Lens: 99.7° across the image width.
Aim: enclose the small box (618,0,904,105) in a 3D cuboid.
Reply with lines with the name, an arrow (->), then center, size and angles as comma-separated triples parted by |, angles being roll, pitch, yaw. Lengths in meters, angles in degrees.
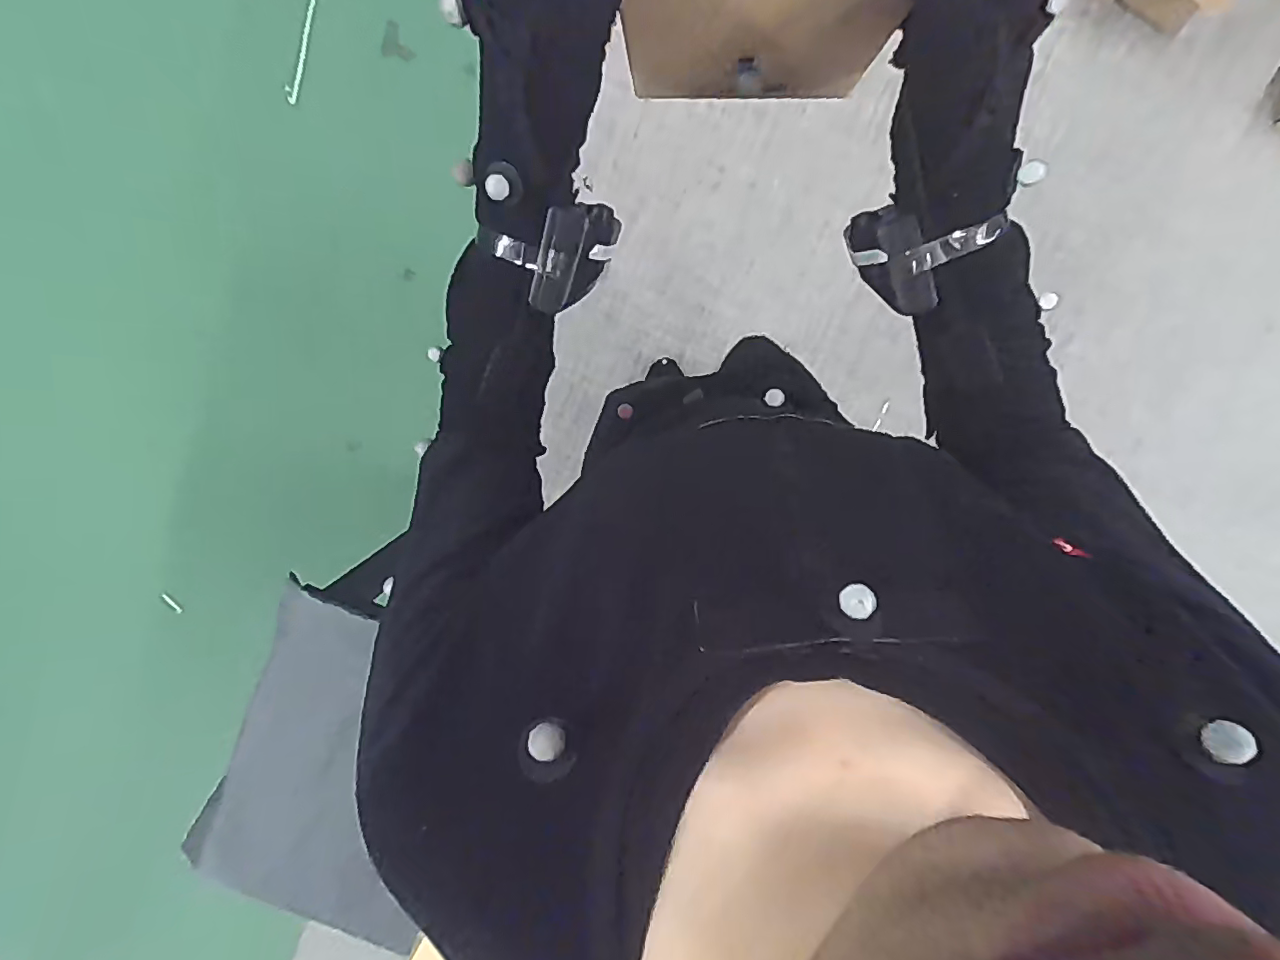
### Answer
small box -> 0.071, -0.361, 0.323 | 0.168, 0.176, 0.179 | 4, 105, 4
